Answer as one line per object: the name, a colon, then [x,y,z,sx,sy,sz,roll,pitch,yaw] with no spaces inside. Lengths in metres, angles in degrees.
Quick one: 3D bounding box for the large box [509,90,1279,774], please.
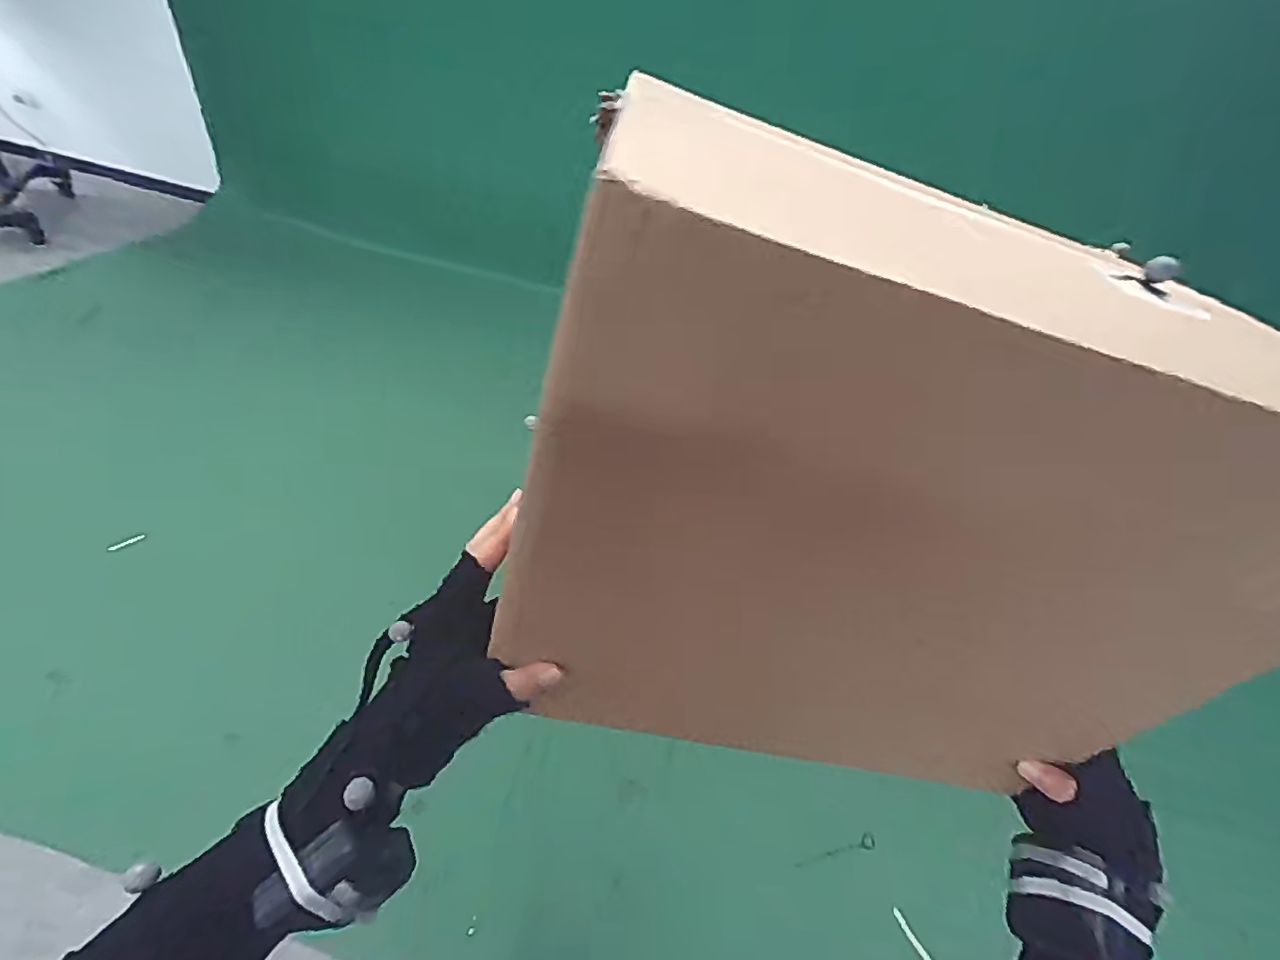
large box: [0.148,-0.021,0.398,0.408,0.320,0.320,15,40,-12]
